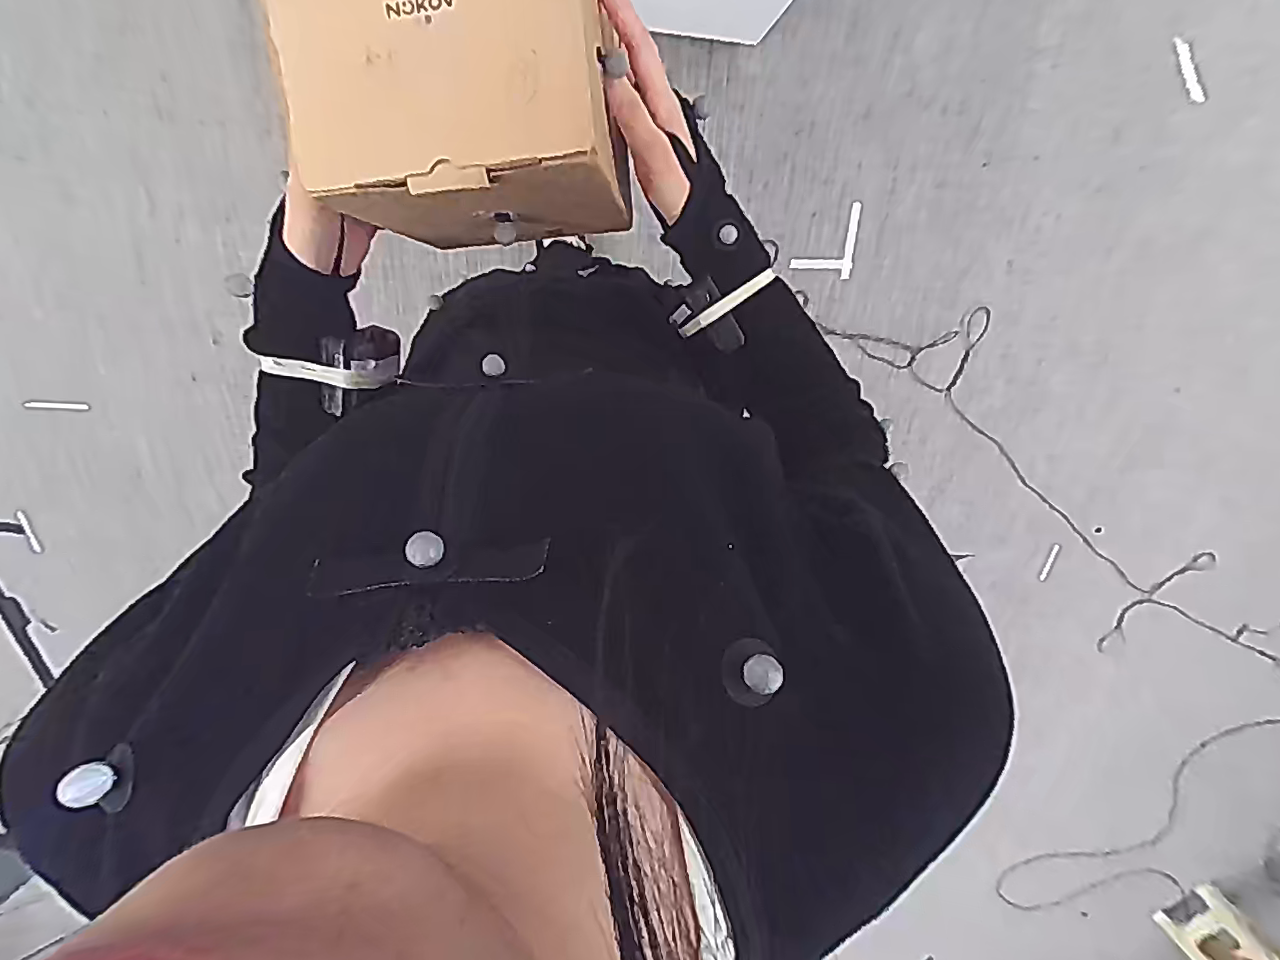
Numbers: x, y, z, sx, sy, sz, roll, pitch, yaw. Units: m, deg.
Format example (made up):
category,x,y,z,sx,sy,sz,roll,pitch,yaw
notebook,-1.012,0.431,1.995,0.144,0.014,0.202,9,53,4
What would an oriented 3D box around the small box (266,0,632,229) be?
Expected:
category,x,y,z,sx,sy,sz,roll,pitch,yaw
small box,-0.100,-0.268,0.342,0.168,0.176,0.179,-3,104,7
